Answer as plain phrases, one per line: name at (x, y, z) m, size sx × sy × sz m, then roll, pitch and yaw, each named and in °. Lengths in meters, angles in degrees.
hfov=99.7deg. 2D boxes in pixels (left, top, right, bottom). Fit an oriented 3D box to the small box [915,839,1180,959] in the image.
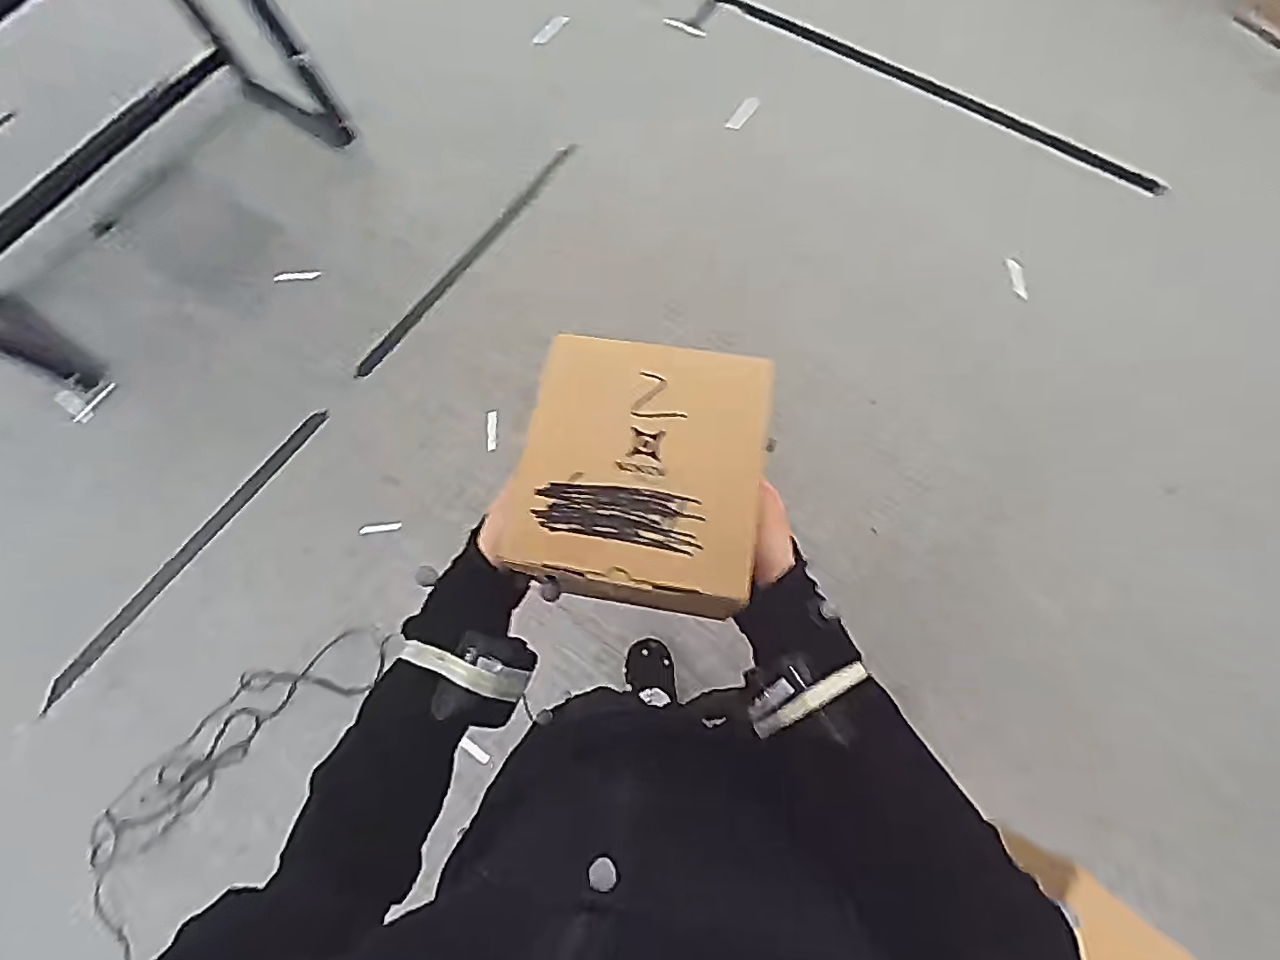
small box at (0.418, 0.500, 0.541) m, size 0.179 × 0.176 × 0.168 m, roll 39°, pitch 78°, yaw 15°
